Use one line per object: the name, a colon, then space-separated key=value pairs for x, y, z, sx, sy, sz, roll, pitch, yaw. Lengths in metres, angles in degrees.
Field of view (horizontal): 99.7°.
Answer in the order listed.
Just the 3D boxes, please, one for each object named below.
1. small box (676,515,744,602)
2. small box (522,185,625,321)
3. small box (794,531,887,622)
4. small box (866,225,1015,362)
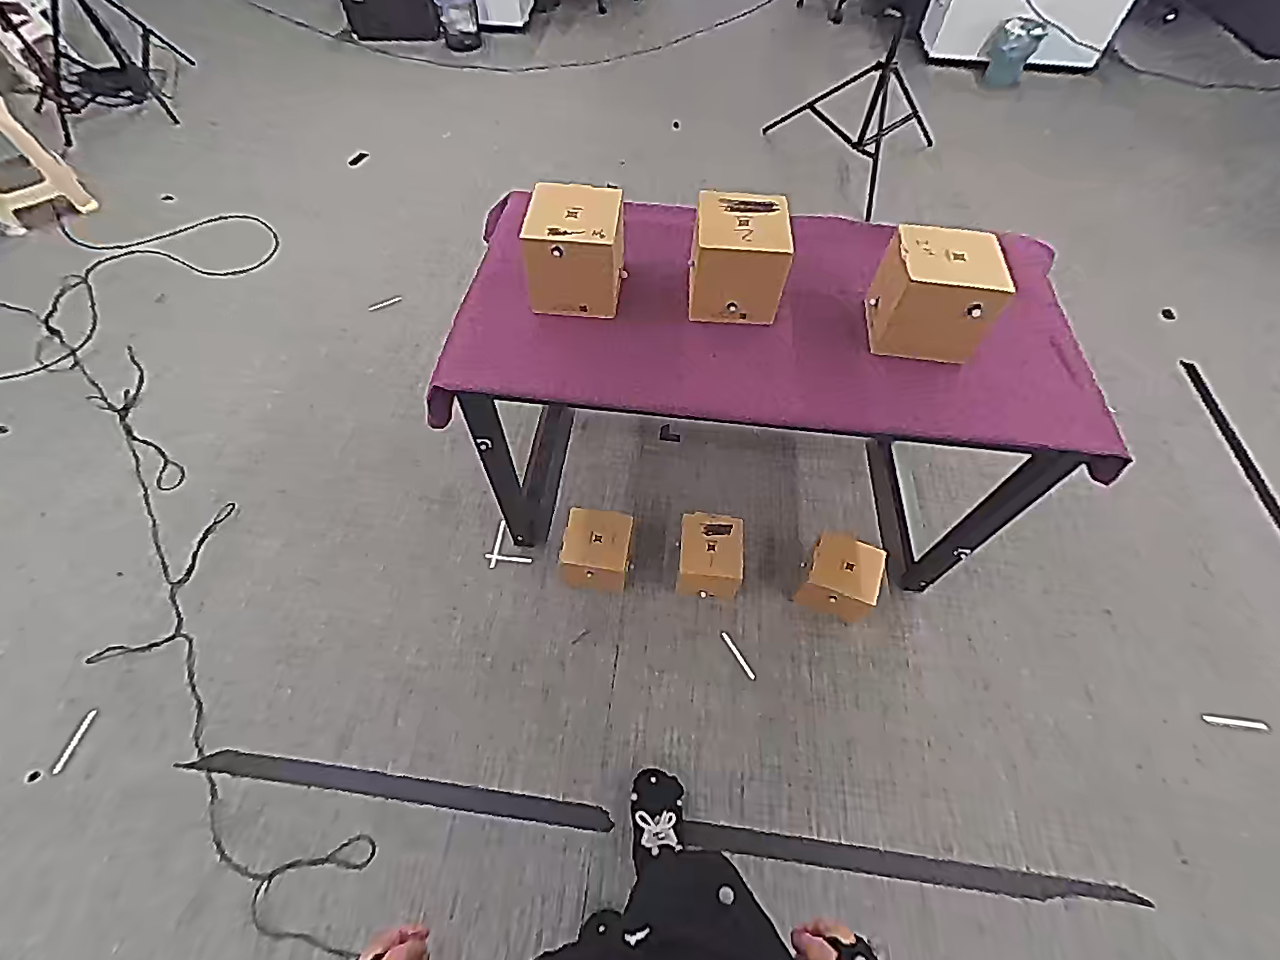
small box: x=0.191 y=0.219 z=1.498 sx=0.168 sy=0.176 sz=0.179 roll=5 pitch=58 yaw=2
small box: x=-0.120 y=-0.435 z=1.044 sx=0.168 sy=0.176 sz=0.179 roll=4 pitch=57 yaw=1
small box: x=0.543 y=0.270 z=1.476 sx=0.179 sy=0.176 sz=0.168 roll=20 pitch=60 yaw=13
small box: x=0.539 y=-0.338 z=0.997 sx=0.179 sy=0.176 sz=0.168 roll=7 pitch=57 yaw=4
